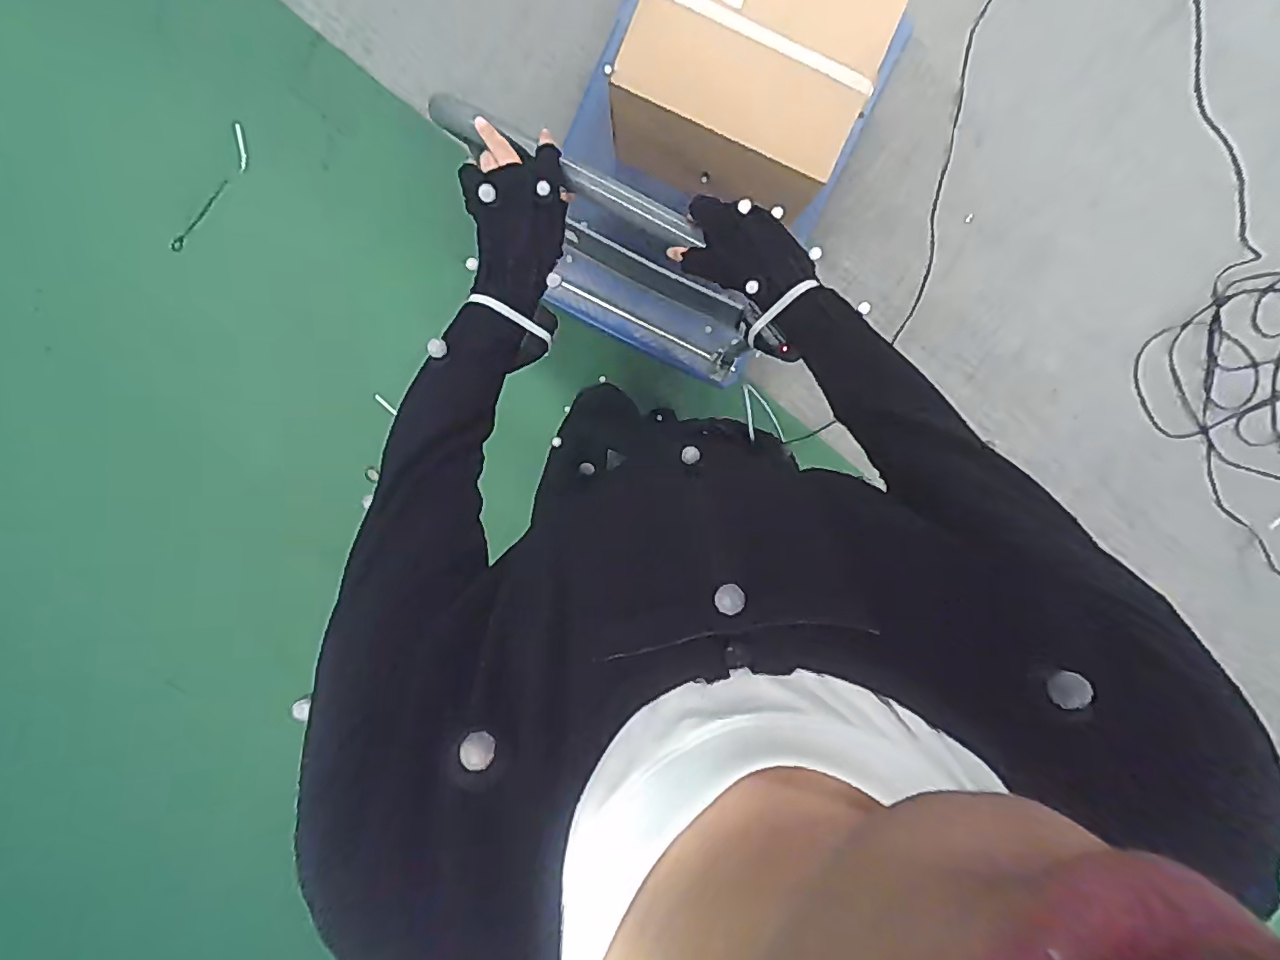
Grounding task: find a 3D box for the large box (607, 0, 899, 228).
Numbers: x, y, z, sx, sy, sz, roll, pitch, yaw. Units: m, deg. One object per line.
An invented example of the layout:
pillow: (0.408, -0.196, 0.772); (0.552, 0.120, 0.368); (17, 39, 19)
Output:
large box: (0.187, -0.747, 1.032); (0.408, 0.320, 0.320); (23, 97, -3)
